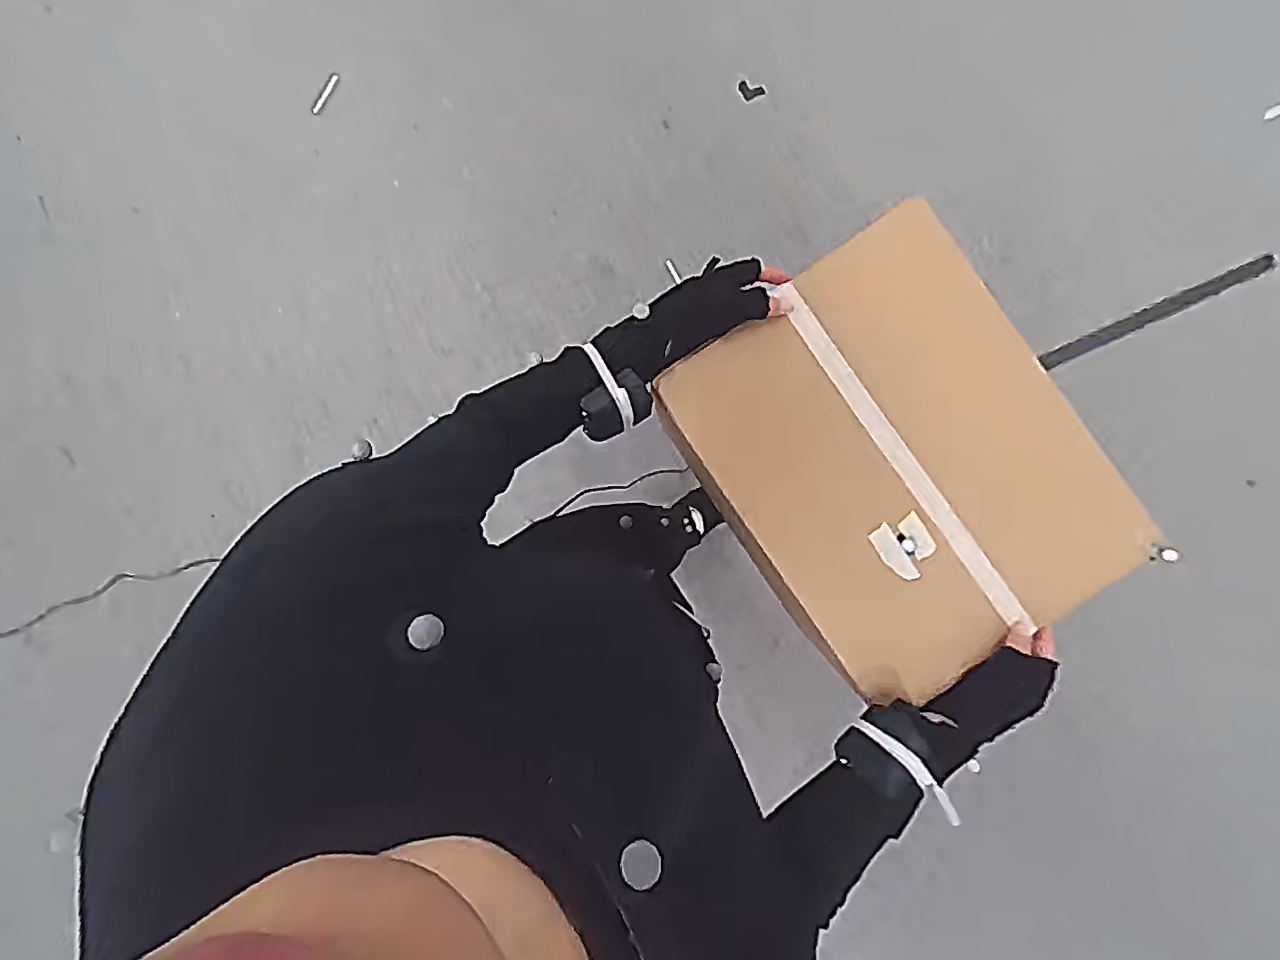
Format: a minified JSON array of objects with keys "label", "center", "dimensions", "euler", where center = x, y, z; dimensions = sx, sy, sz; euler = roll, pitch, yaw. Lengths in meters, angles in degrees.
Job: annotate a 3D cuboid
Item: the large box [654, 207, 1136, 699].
[{"label":"large box","center":[0.253,-0.029,0.682],"dimensions":[0.320,0.320,0.408],"euler":[-35,90,3]}]
